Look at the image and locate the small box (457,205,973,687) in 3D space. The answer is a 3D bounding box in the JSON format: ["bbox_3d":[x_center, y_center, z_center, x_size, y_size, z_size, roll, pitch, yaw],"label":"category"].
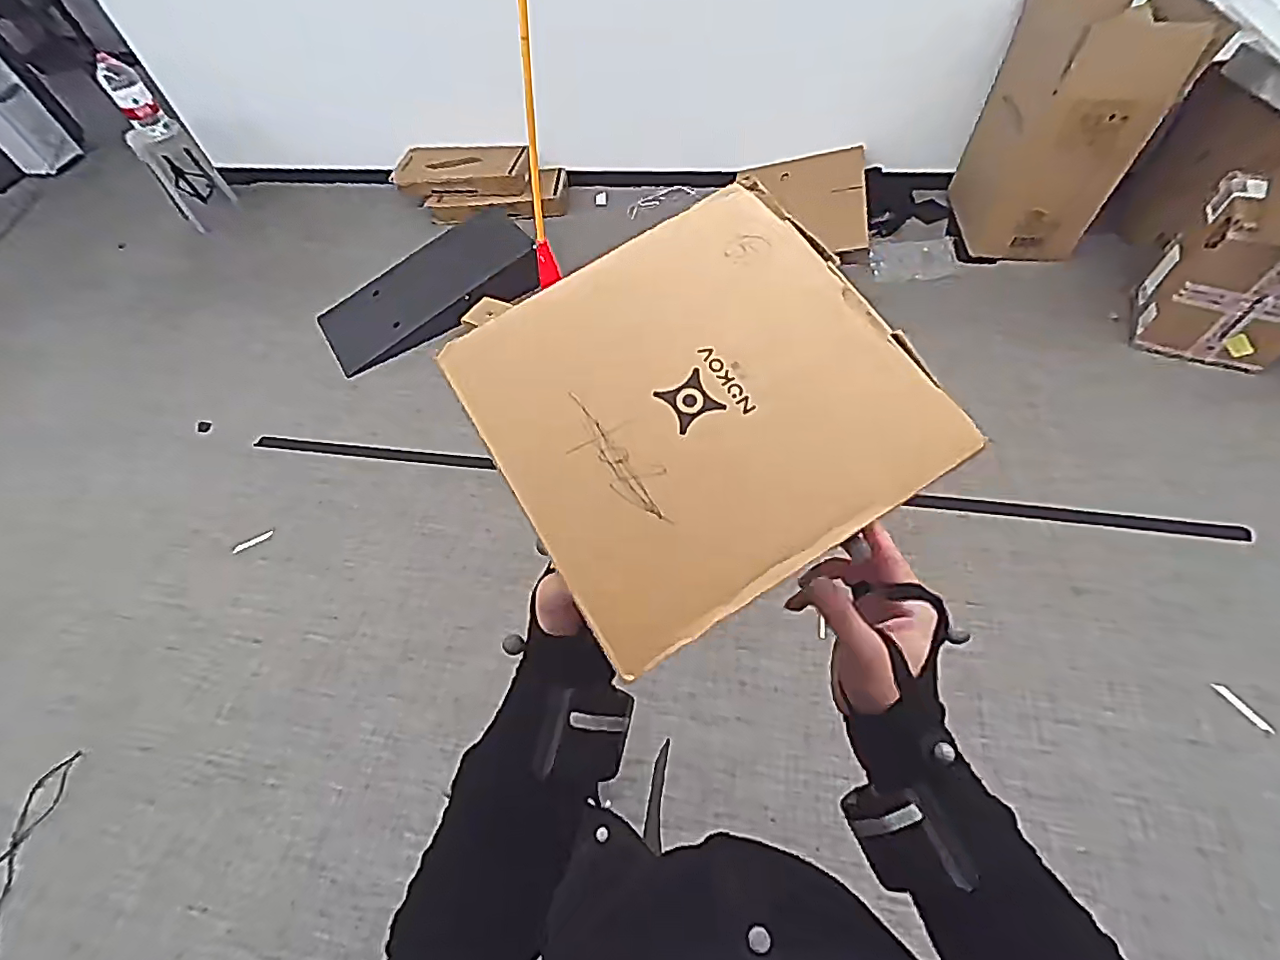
[{"bbox_3d":[0.032,-0.007,0.317,0.179,0.176,0.168,-33,75,-6],"label":"small box"}]
